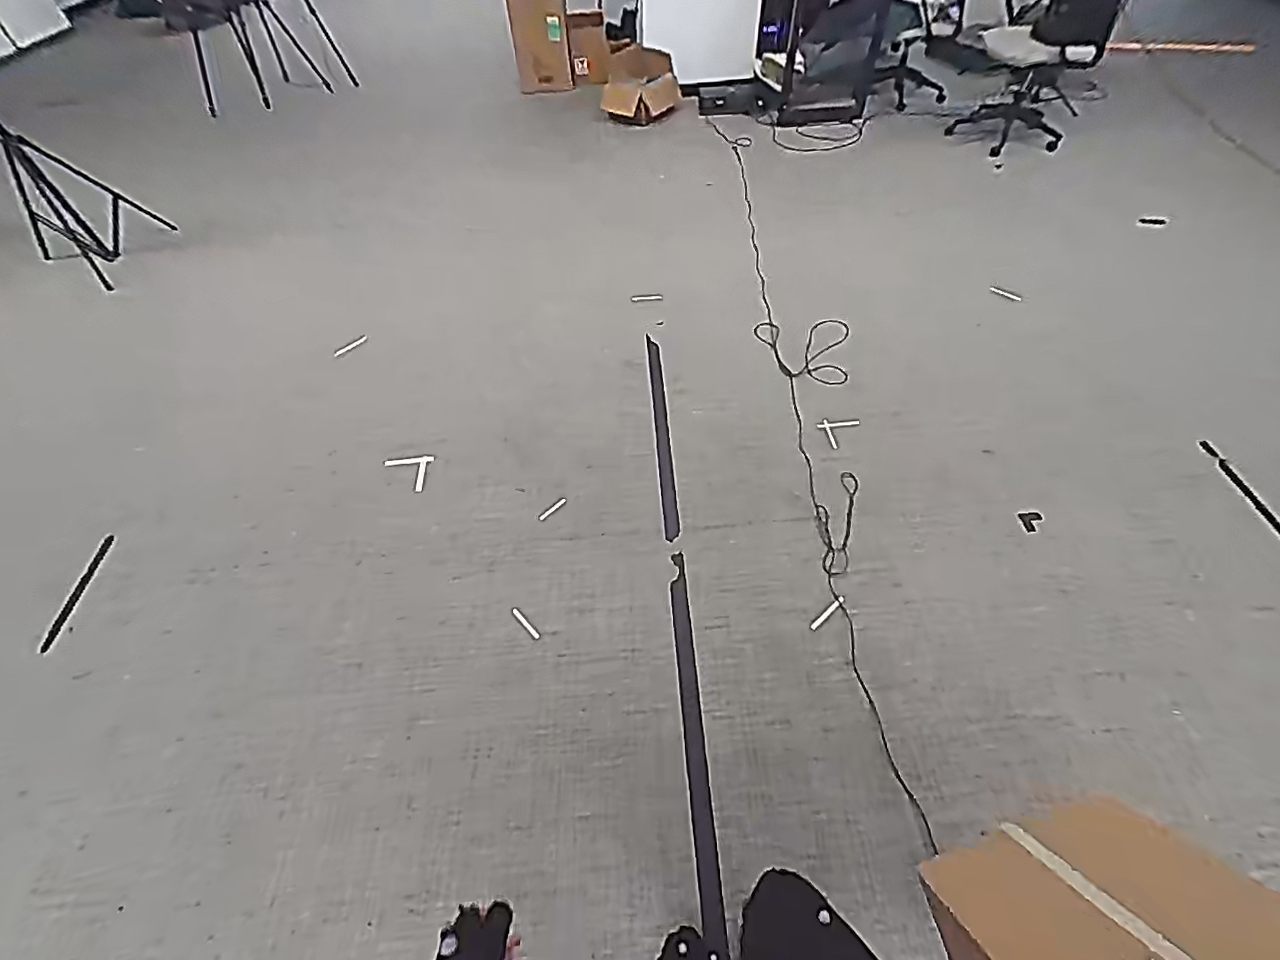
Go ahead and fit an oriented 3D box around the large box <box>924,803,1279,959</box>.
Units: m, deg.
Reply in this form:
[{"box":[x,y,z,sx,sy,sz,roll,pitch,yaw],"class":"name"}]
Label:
[{"box":[0.615,0.660,0.603,0.320,0.408,0.320,-19,88,-4],"class":"large box"}]
